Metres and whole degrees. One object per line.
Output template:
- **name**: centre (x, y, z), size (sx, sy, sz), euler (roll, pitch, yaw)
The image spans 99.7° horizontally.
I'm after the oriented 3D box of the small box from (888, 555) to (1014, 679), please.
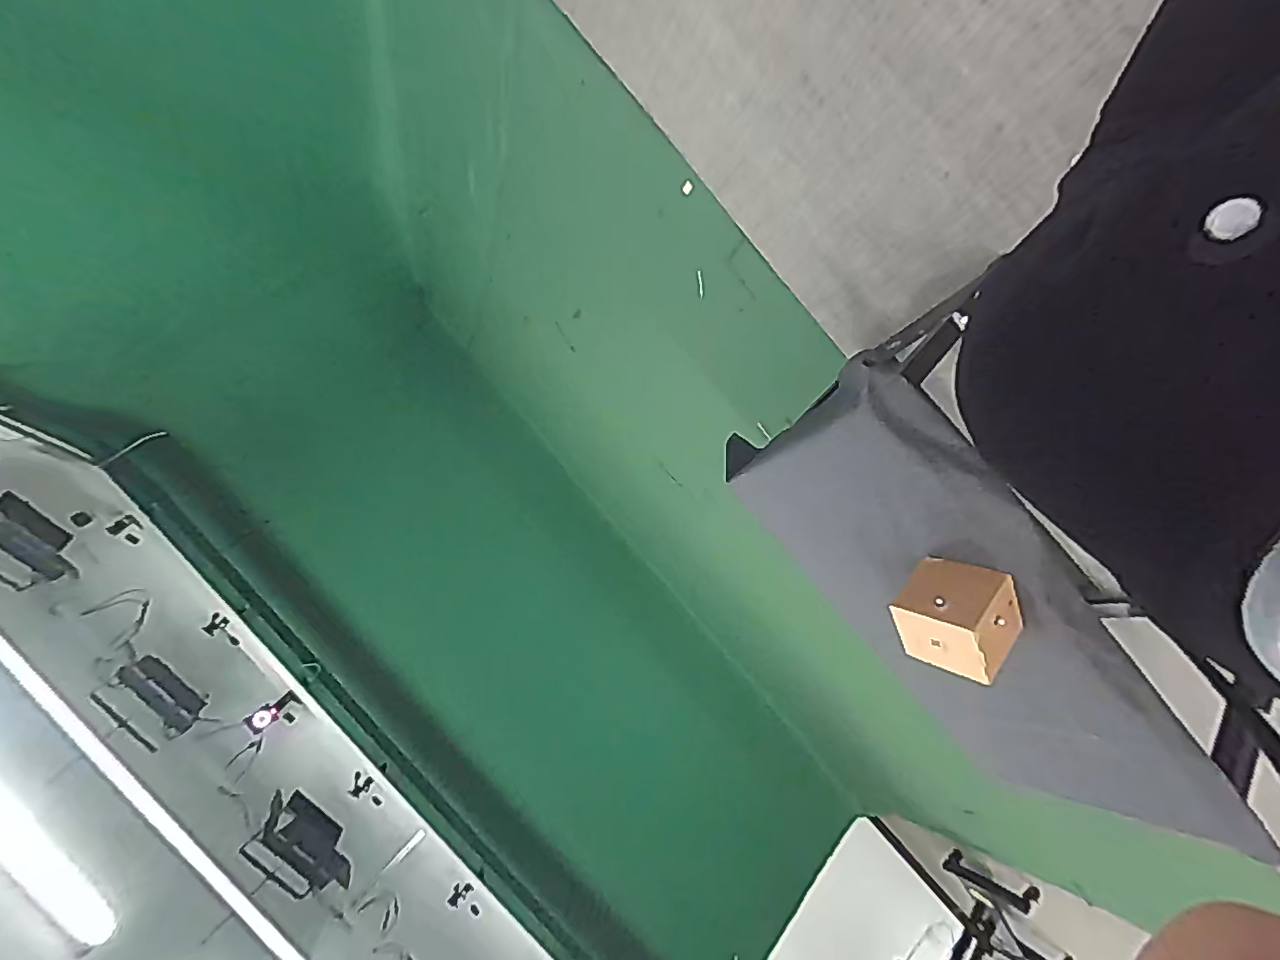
- **small box**: centre (0.672, 0.283, 1.158), size (0.179, 0.176, 0.168), euler (12, 137, 55)
